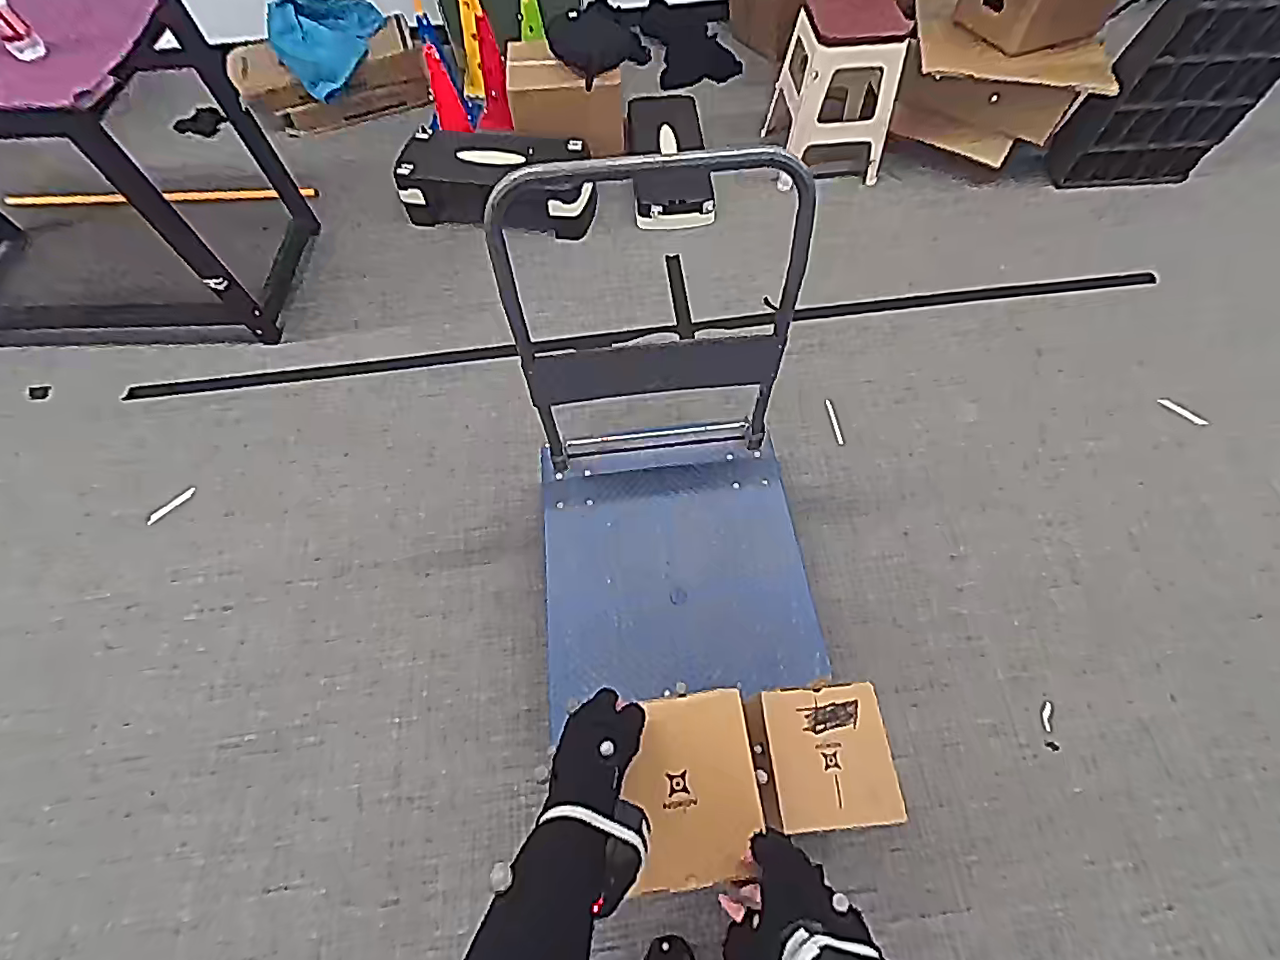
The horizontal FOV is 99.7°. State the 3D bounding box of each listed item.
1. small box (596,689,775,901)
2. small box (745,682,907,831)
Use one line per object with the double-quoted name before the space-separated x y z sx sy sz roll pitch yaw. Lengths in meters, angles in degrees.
"small box" 0.043 0.349 0.636 0.168 0.176 0.179 -9 70 -2
"small box" 0.262 0.412 0.811 0.168 0.176 0.179 -4 63 -2
